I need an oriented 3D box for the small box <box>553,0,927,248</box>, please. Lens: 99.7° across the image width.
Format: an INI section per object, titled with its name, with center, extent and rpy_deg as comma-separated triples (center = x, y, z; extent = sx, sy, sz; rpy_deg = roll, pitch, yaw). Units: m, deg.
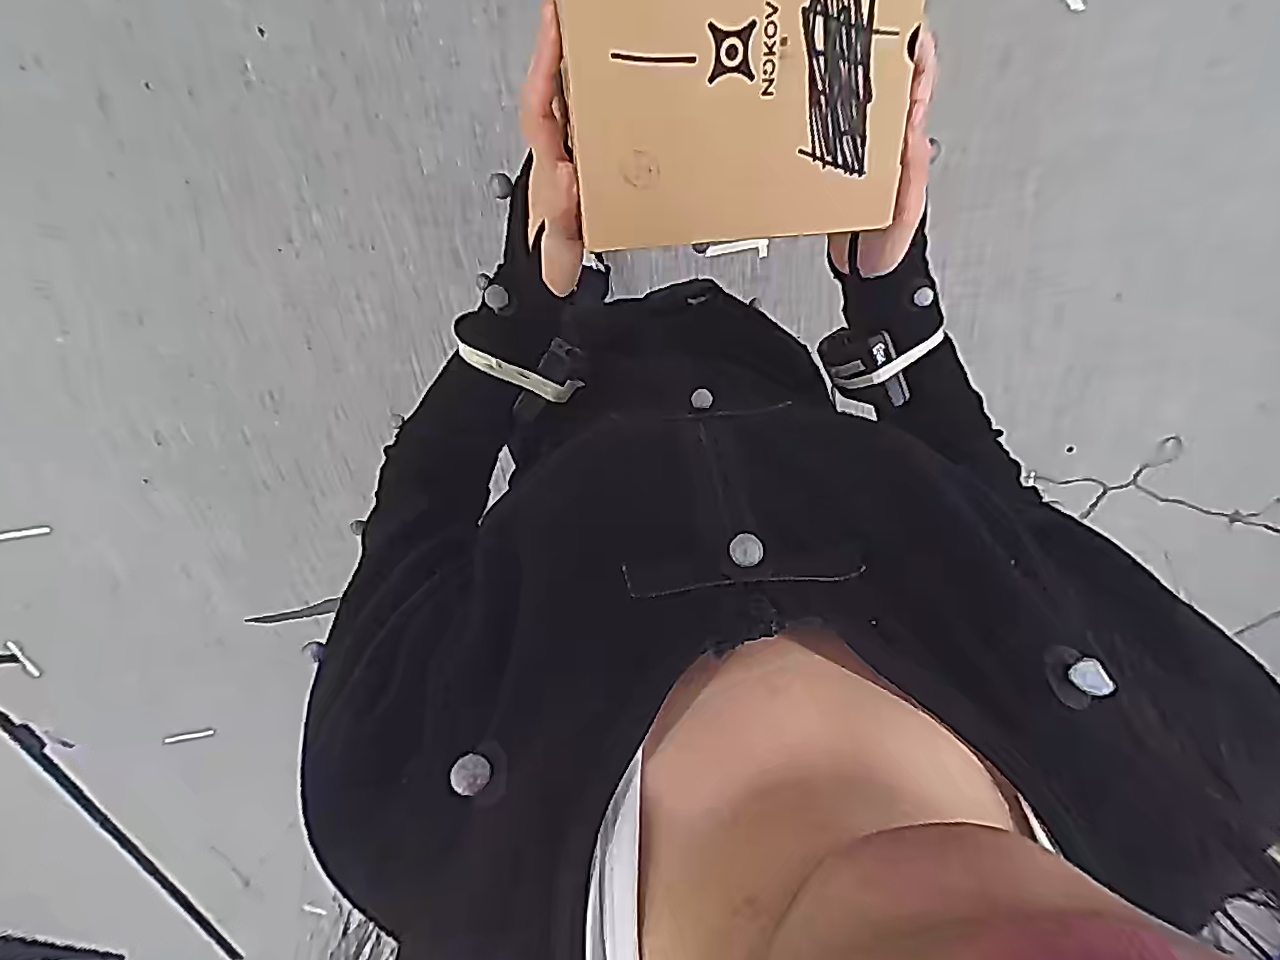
[small box]
center = 0.042, -0.245, 0.326
extent = 0.179, 0.176, 0.168
rpy_deg = -6, 121, -4
